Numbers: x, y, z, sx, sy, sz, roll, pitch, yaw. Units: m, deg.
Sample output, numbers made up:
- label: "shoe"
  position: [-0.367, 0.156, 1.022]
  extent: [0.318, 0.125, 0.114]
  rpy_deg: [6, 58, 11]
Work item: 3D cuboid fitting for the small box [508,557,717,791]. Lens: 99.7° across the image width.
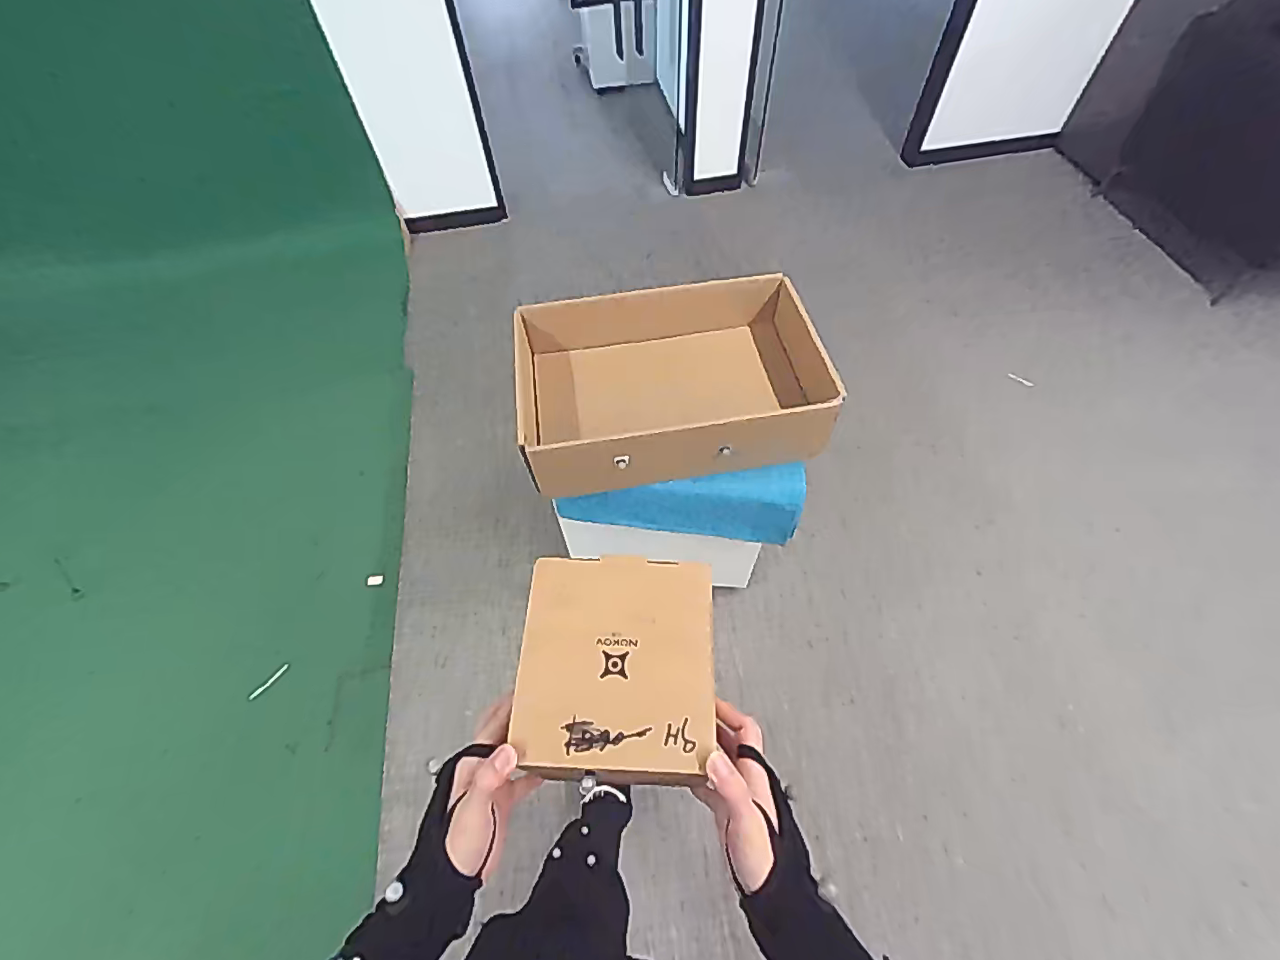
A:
- label: "small box"
  position: [-0.016, 0.192, 0.528]
  extent: [0.168, 0.176, 0.179]
  rpy_deg: [2, 57, 3]
